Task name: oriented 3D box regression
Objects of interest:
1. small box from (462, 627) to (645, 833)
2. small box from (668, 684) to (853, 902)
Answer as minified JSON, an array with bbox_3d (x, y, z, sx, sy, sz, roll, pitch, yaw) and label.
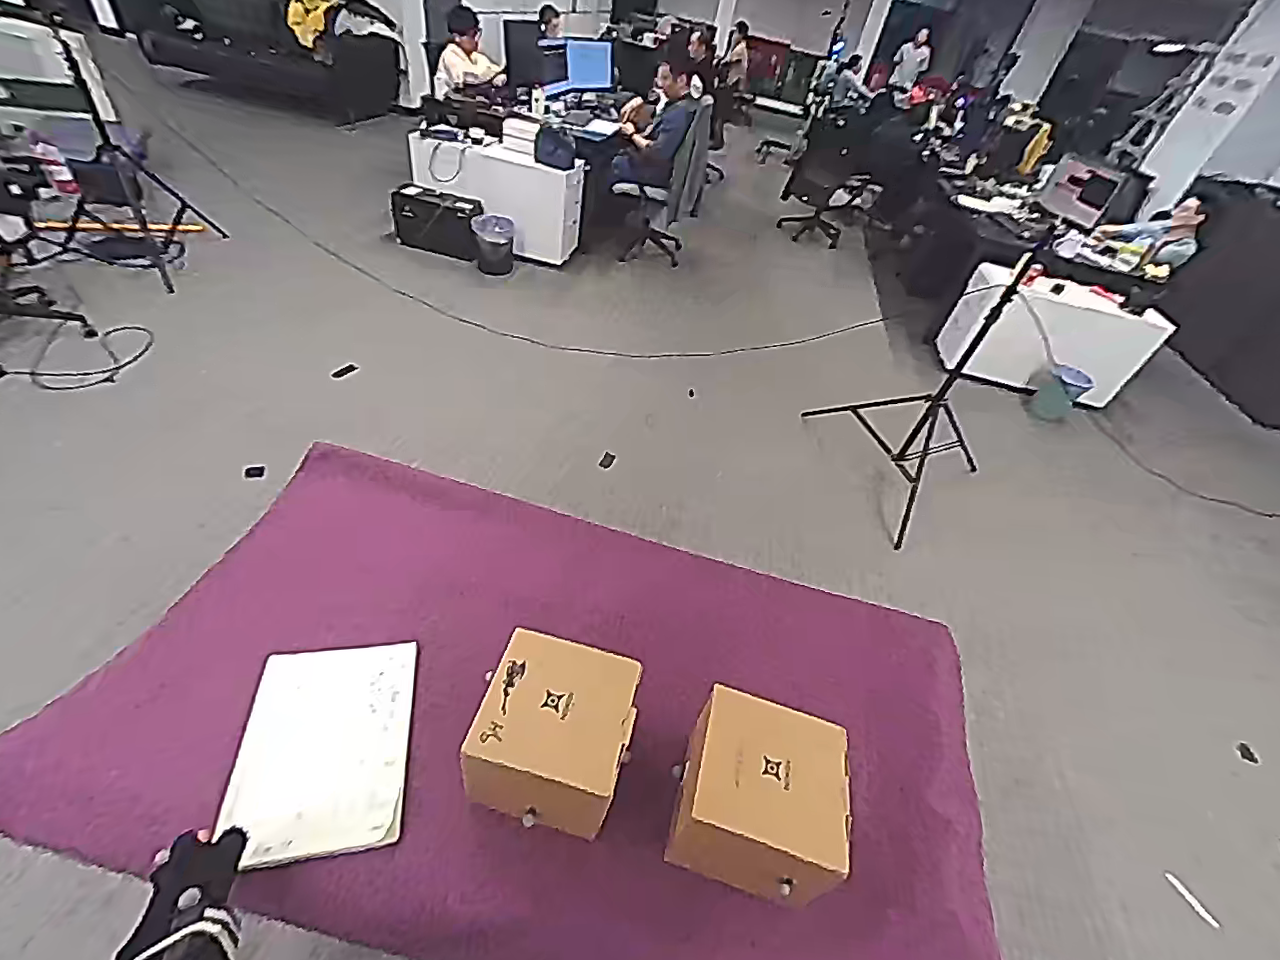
[{"bbox_3d":[-0.108,0.323,0.694,0.179,0.176,0.168,16,41,3],"label":"small box"},{"bbox_3d":[0.148,0.394,0.679,0.179,0.176,0.168,16,39,6],"label":"small box"}]
